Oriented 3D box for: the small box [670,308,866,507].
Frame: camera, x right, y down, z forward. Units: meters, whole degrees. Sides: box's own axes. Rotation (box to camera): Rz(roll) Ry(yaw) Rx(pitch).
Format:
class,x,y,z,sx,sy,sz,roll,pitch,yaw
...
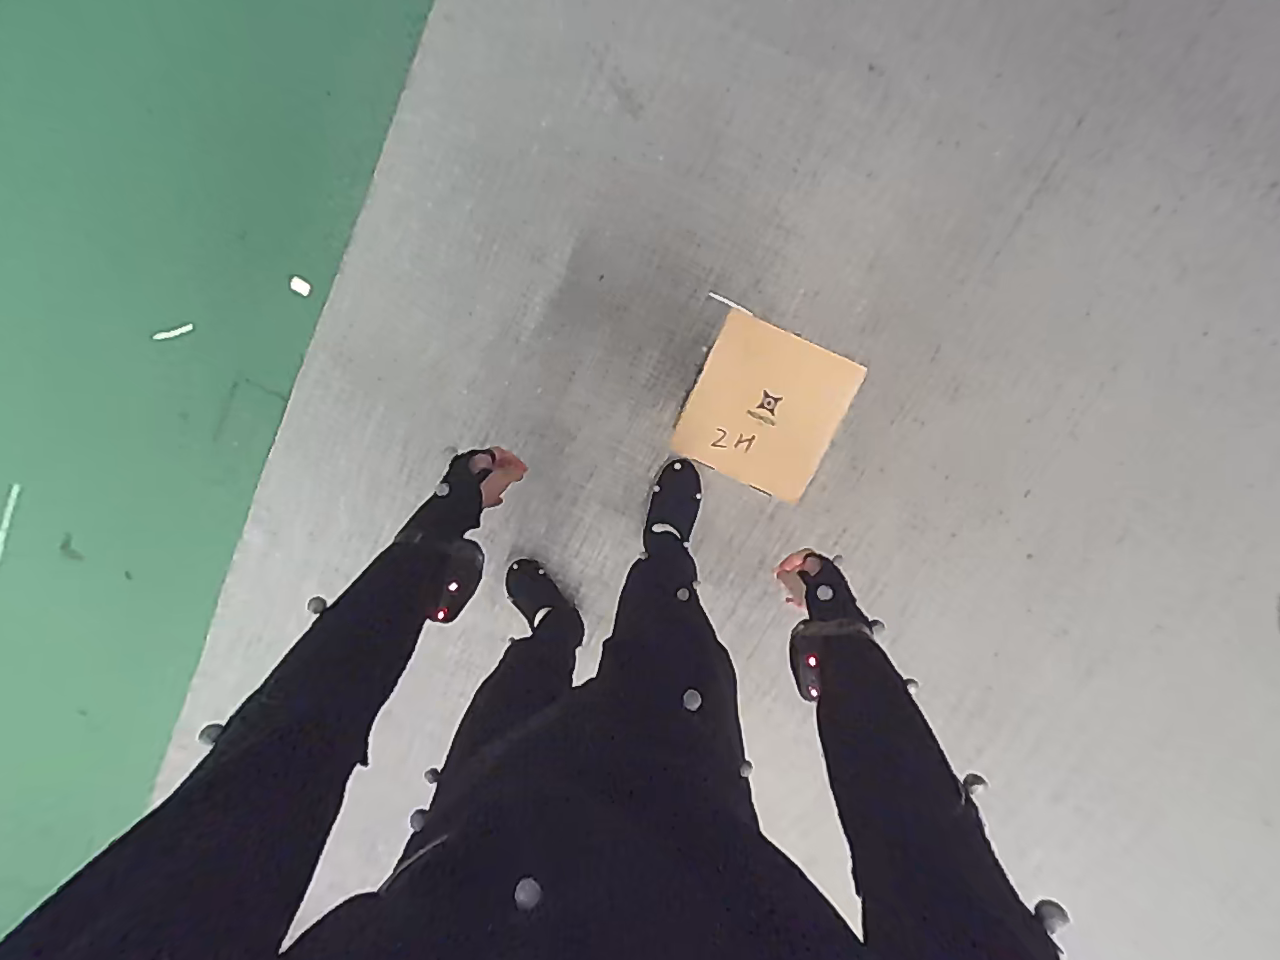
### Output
class,x,y,z,sx,sy,sz,roll,pitch,yaw
small box,0.148,-0.092,0.685,0.168,0.176,0.179,26,101,2
